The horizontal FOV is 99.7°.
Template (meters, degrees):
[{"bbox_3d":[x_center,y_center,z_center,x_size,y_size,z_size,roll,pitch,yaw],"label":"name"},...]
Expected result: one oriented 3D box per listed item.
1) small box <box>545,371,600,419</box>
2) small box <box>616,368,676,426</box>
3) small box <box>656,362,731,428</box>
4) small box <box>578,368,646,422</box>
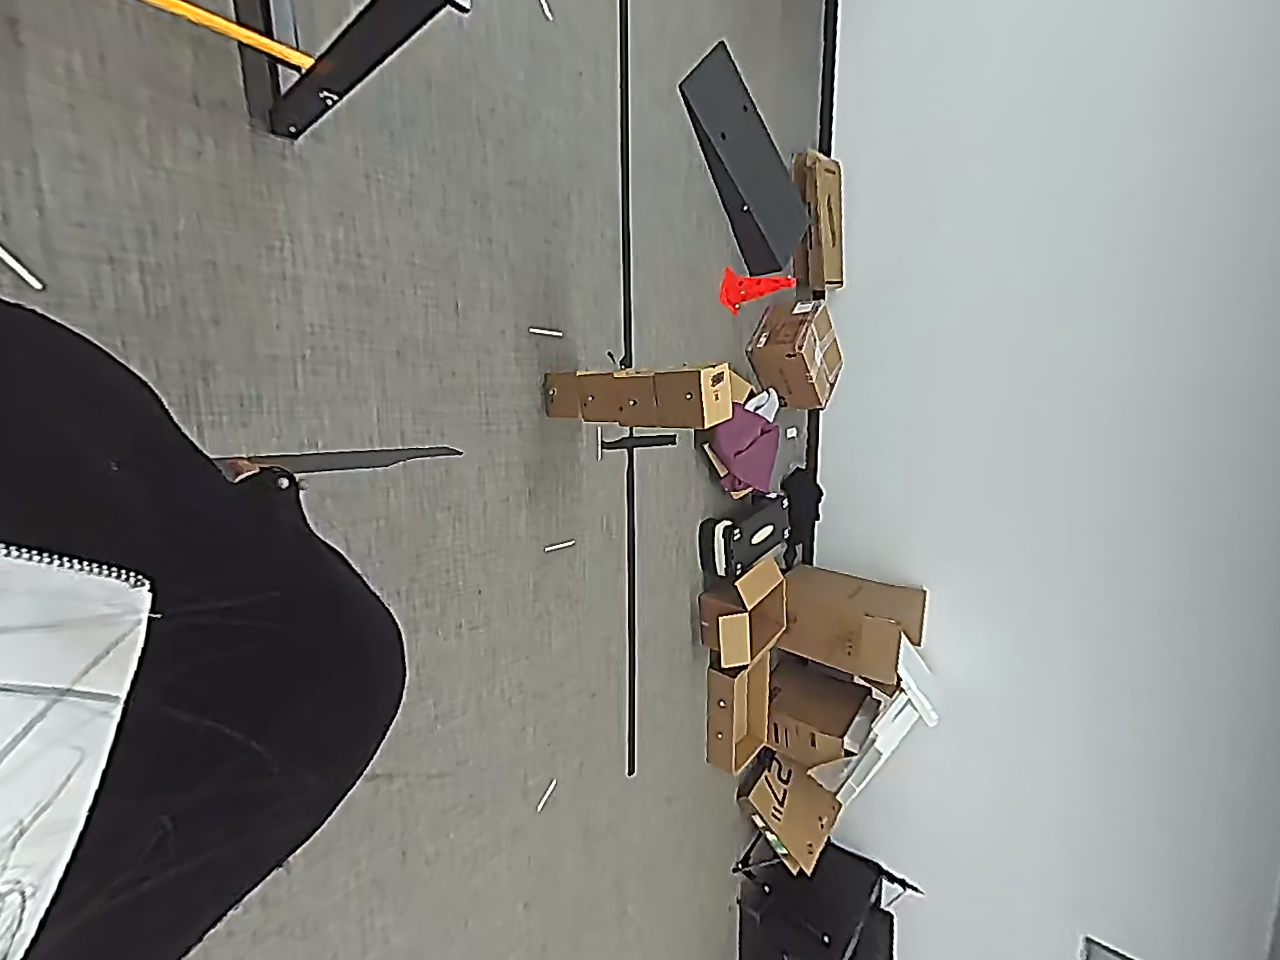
[{"bbox_3d":[-0.226,-0.313,1.976,0.179,0.176,0.168,-14,105,-47],"label":"small box"},{"bbox_3d":[0.034,-0.271,1.777,0.179,0.176,0.168,-24,113,-46],"label":"small box"},{"bbox_3d":[0.164,-0.262,1.675,0.168,0.176,0.179,-25,114,-47],"label":"small box"},{"bbox_3d":[-0.090,-0.297,1.882,0.179,0.176,0.168,-22,110,-47],"label":"small box"}]
